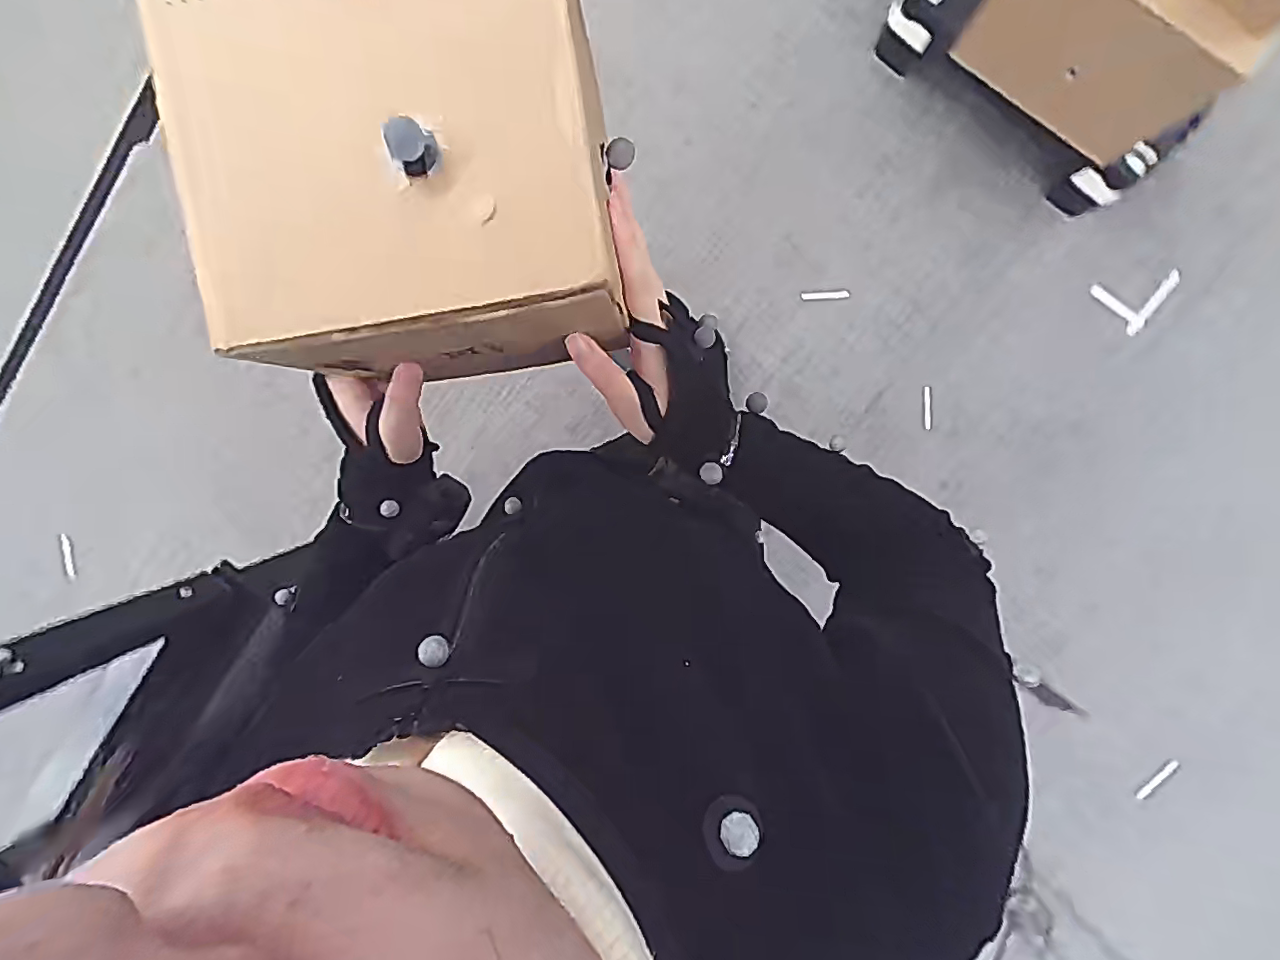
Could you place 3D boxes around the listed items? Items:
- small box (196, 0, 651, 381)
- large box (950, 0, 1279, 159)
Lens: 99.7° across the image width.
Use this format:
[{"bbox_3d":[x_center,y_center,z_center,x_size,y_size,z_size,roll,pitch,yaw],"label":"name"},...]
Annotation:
[{"bbox_3d":[-0.094,-0.159,0.294,0.179,0.168,0.176,-8,93,3],"label":"small box"},{"bbox_3d":[0.880,-0.880,0.967,0.408,0.320,0.320,35,98,0],"label":"large box"}]
